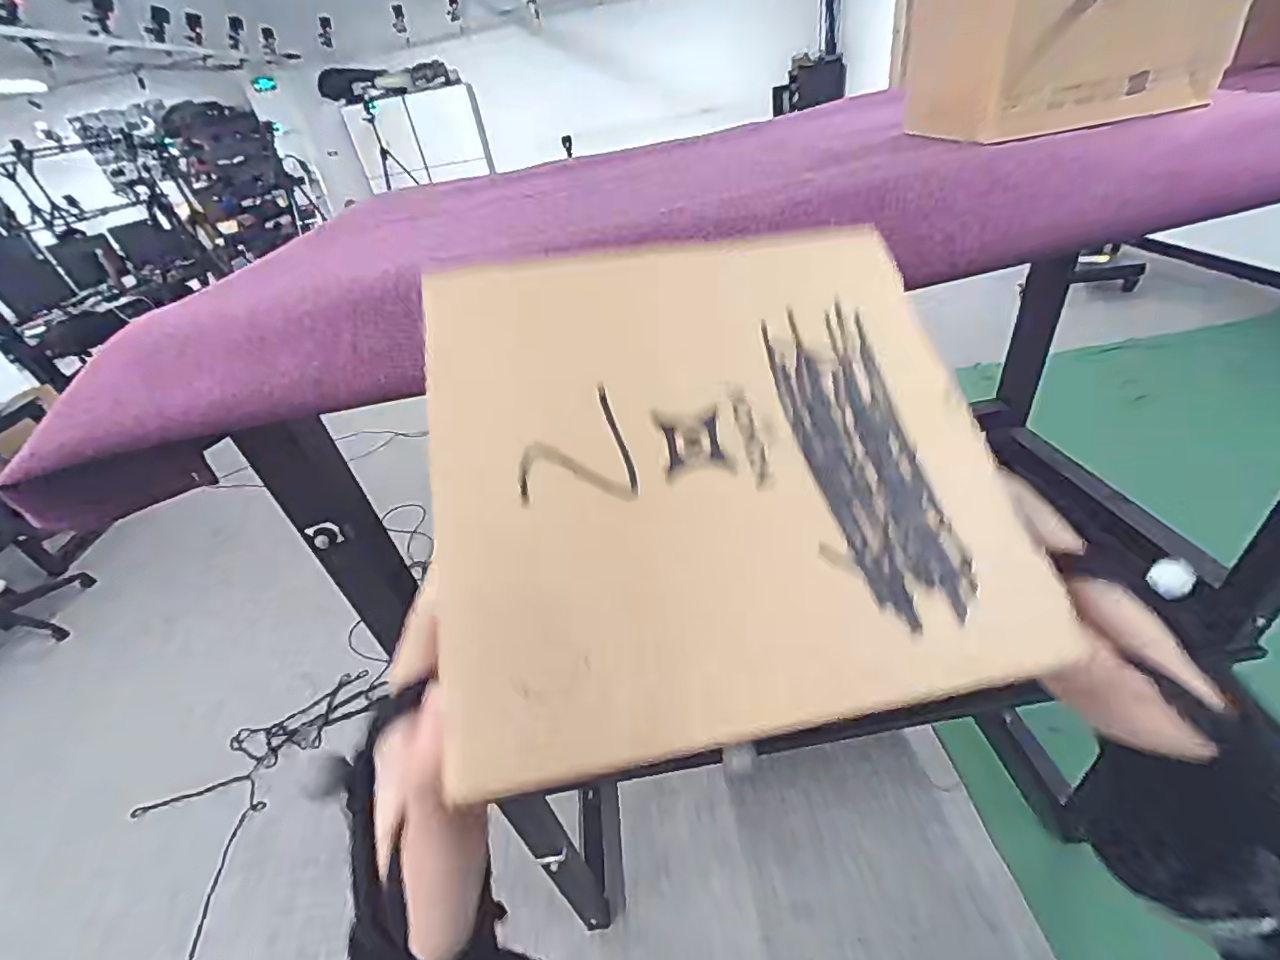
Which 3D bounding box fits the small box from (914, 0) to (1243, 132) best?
[{"bbox_3d":[0.346,-0.395,0.439,0.168,0.176,0.179,-7,35,5],"label":"small box"}]
